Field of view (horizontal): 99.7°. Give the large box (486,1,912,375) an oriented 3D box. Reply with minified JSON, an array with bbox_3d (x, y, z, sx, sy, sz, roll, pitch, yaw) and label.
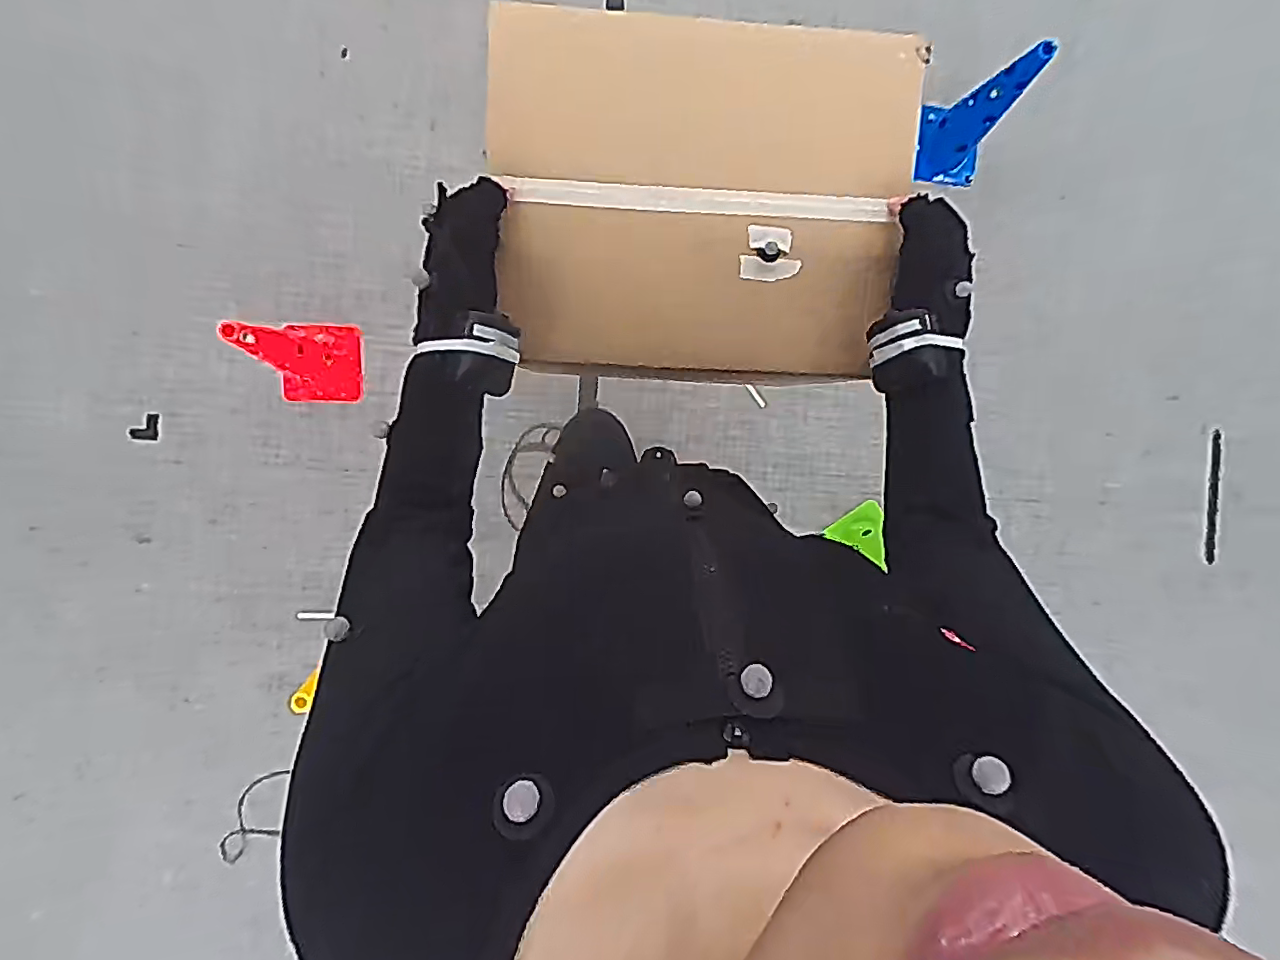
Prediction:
[{"bbox_3d":[0.045,-0.297,0.664,0.408,0.320,0.320,2,99,-4],"label":"large box"}]

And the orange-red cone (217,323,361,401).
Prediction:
[{"bbox_3d":[-0.818,-0.297,1.235,0.198,0.360,0.199,1,93,-3],"label":"orange-red cone"}]

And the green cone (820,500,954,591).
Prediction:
[{"bbox_3d":[0.638,0.187,1.336,0.202,0.368,0.200,-34,94,-3],"label":"green cone"}]

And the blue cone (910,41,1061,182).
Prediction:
[{"bbox_3d":[0.855,-0.924,1.333,0.192,0.380,0.193,6,92,-5],"label":"blue cone"}]
